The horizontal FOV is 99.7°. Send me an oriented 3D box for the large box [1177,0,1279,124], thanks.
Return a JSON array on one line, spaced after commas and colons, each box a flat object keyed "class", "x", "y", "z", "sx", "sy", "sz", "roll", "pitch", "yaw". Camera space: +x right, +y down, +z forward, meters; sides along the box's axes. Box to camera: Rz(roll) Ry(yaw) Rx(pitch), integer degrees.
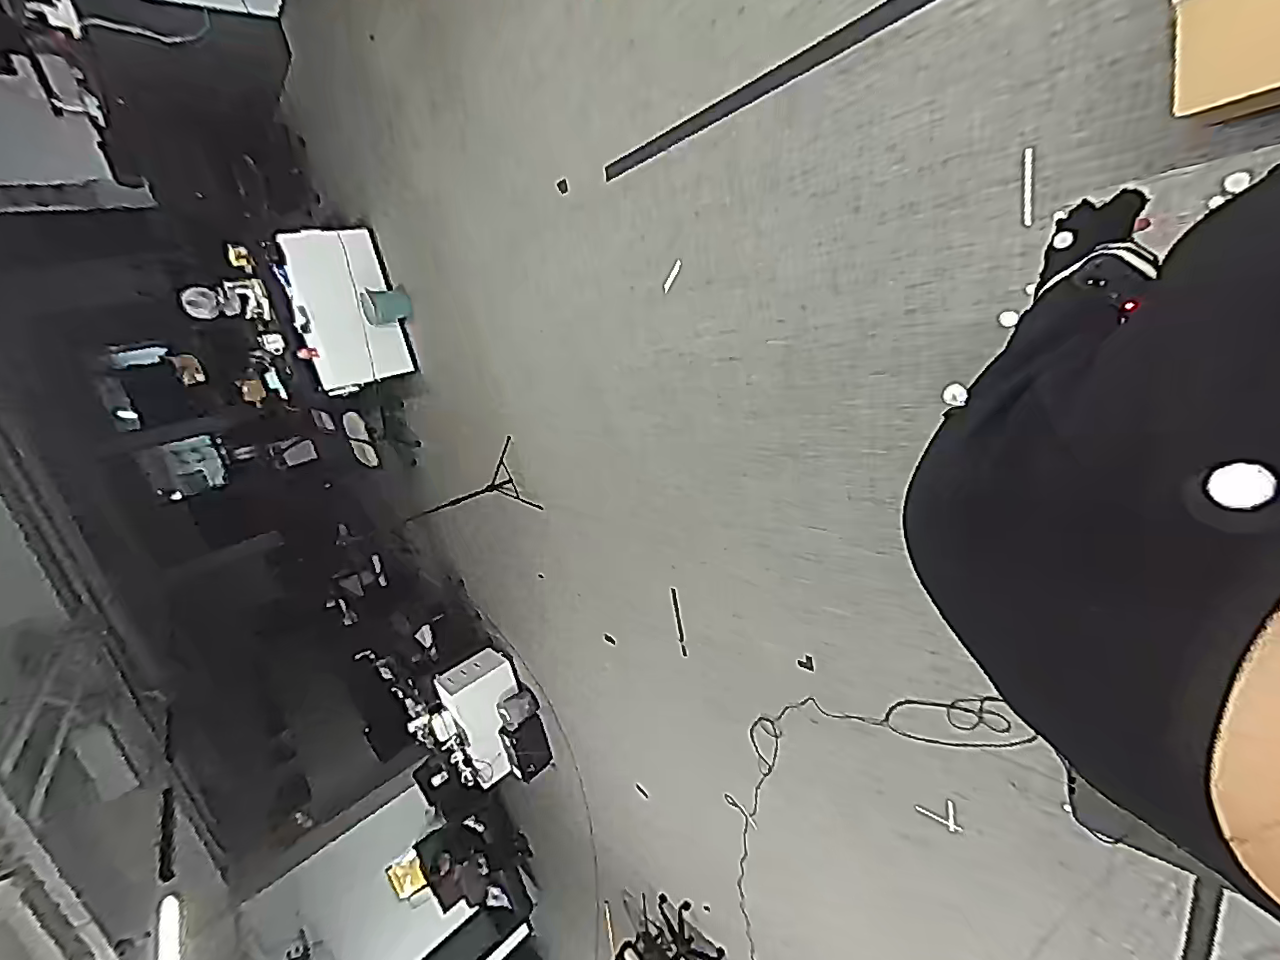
[{"class": "large box", "x": 0.970, "y": -0.711, "z": 0.679, "sx": 0.408, "sy": 0.320, "sz": 0.320, "roll": 5, "pitch": 114, "yaw": 48}]
